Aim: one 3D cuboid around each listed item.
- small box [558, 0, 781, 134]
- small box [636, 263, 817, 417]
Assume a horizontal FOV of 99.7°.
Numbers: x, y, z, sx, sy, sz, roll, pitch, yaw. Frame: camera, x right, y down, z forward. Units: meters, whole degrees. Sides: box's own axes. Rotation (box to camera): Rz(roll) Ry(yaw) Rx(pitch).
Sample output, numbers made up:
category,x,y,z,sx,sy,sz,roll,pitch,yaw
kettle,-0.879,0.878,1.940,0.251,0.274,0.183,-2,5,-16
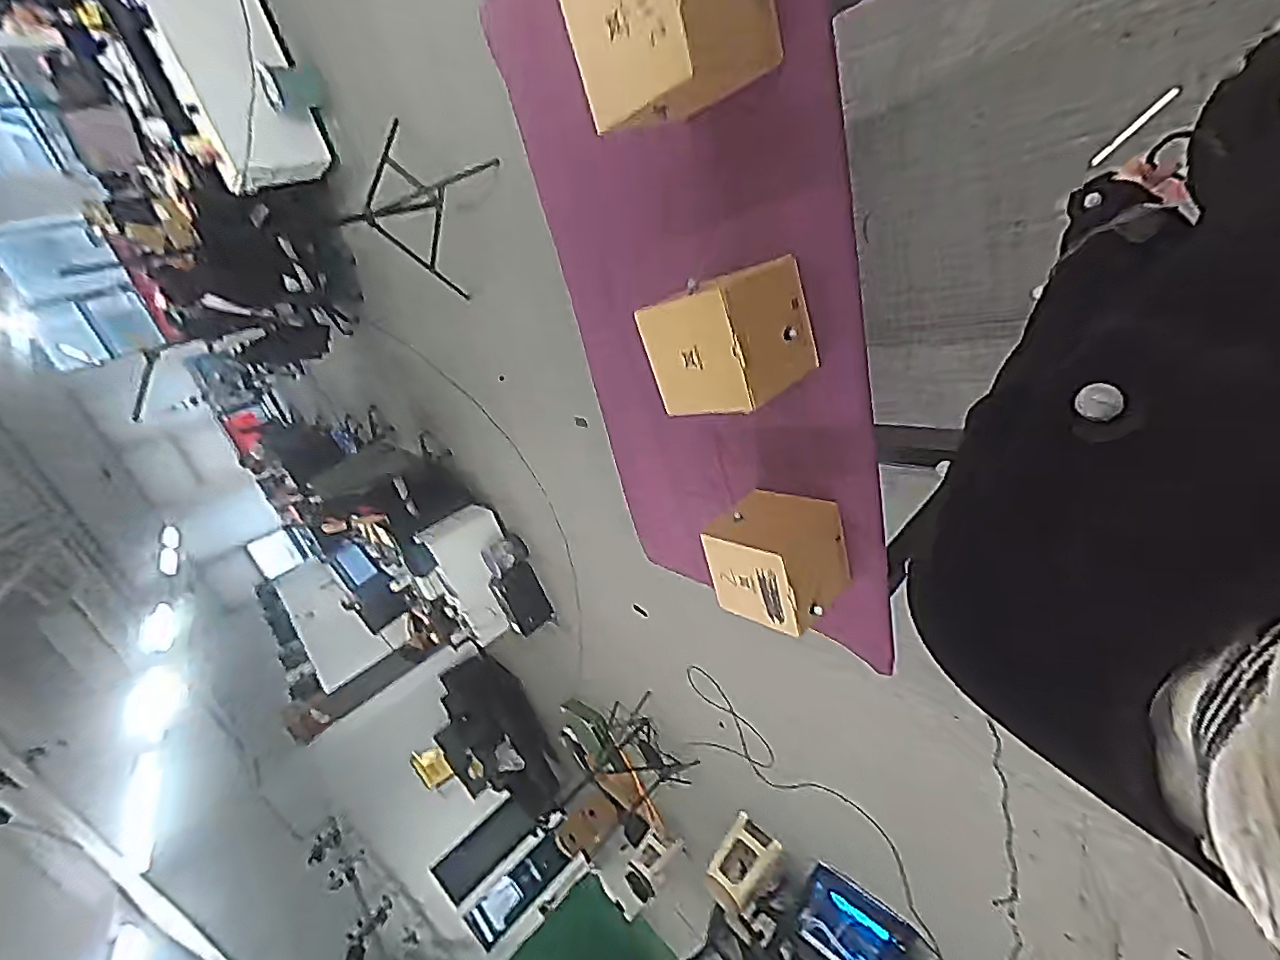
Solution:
category,x,y,z,sx,sy,sz,roll,pitch,yaw
small box,0.035,-0.533,0.632,0.179,0.176,0.168,11,127,49
small box,0.130,-0.202,0.799,0.179,0.176,0.168,5,122,50
